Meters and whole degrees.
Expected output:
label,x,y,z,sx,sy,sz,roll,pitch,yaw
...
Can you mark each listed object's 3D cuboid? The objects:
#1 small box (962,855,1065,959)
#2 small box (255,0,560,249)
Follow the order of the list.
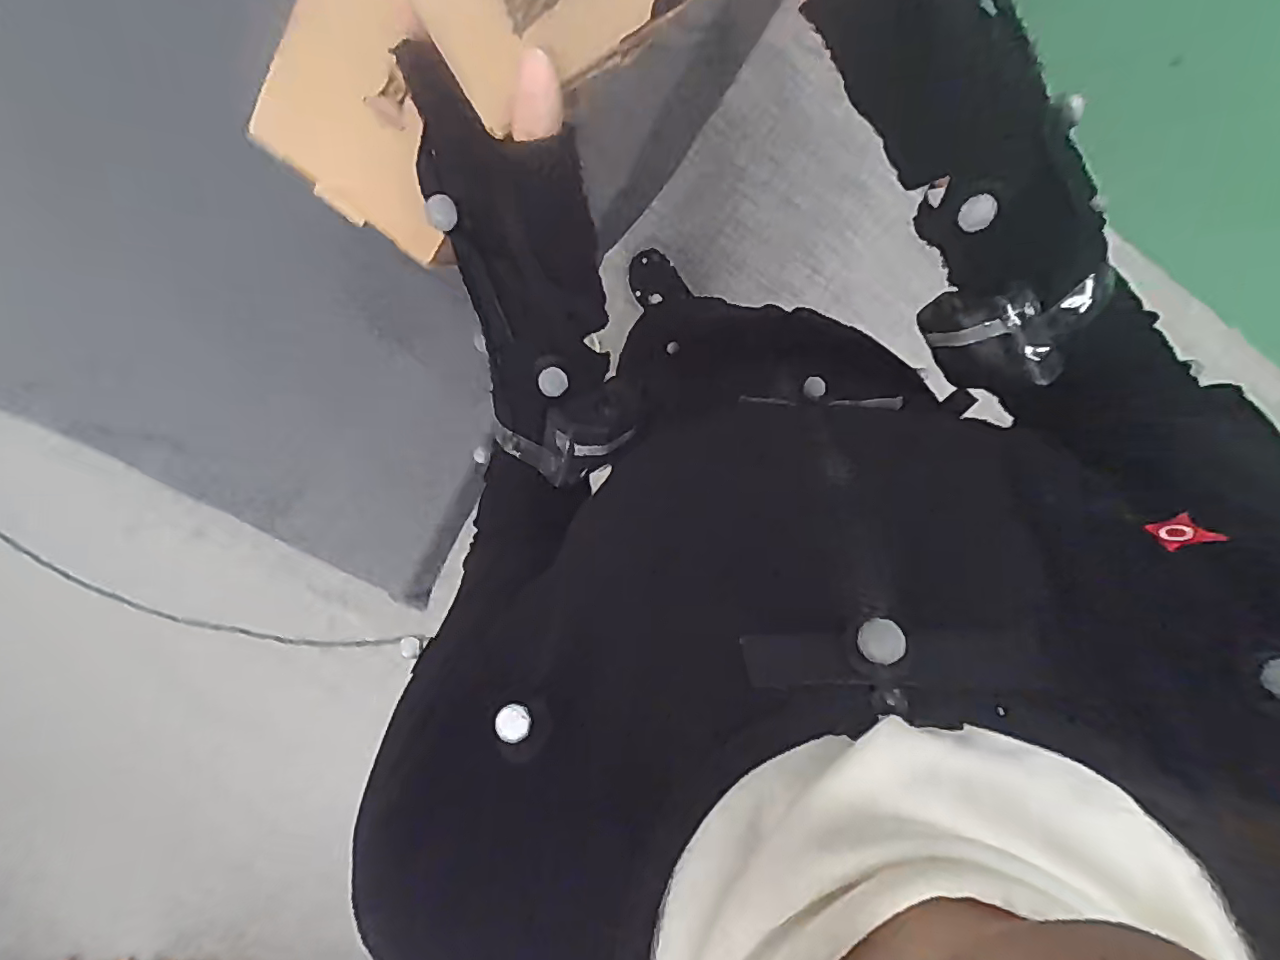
label,x,y,z,sx,sy,sz,roll,pitch,yaw
small box,1.051,1.215,1.532,0.168,0.176,0.179,-22,107,10
small box,-0.191,-0.333,0.493,0.168,0.176,0.179,33,109,-9
